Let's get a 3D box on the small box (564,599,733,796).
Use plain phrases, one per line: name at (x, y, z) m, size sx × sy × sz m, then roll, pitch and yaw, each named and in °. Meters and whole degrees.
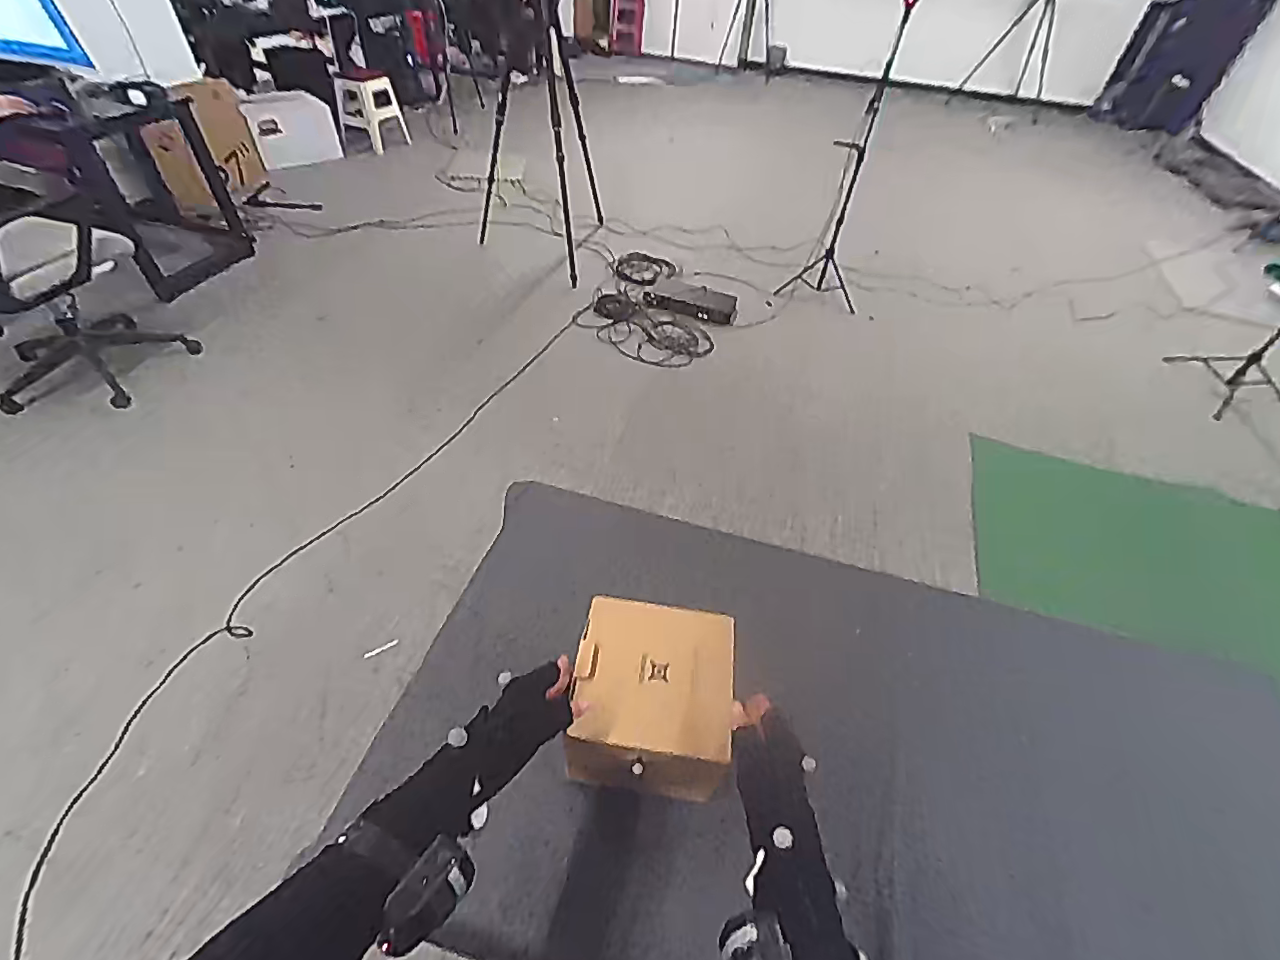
small box at (0.011, 0.270, 0.664) m, size 0.179 × 0.176 × 0.168 m, roll 9°, pitch 48°, yaw 1°
